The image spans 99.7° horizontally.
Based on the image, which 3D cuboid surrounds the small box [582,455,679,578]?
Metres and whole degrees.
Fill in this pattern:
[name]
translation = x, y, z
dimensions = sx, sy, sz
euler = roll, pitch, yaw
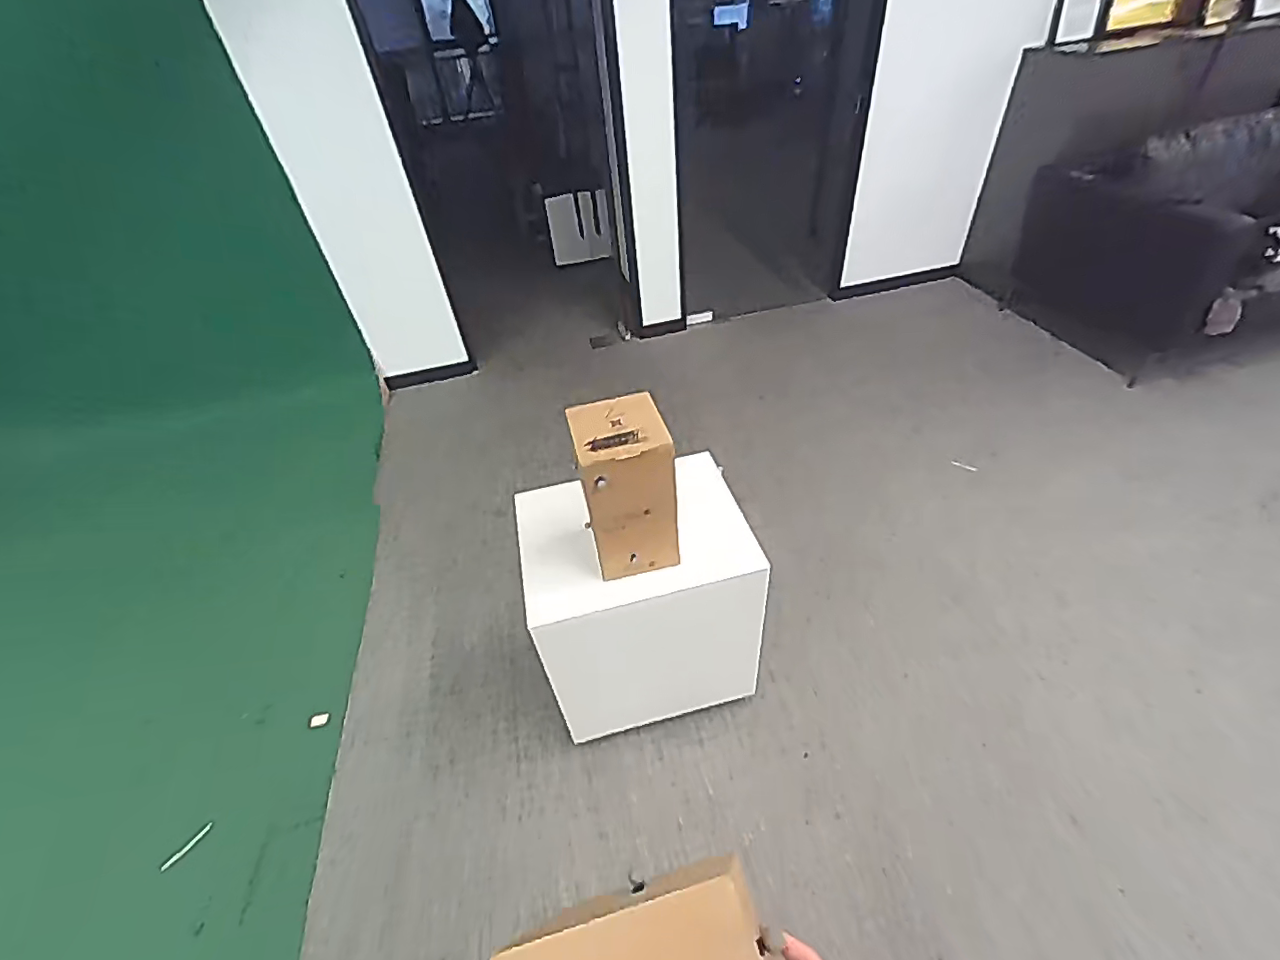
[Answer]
[small box]
translation = -0.020, 0.076, 1.131
dimensions = 0.168, 0.176, 0.179
euler = -12, 42, -6
